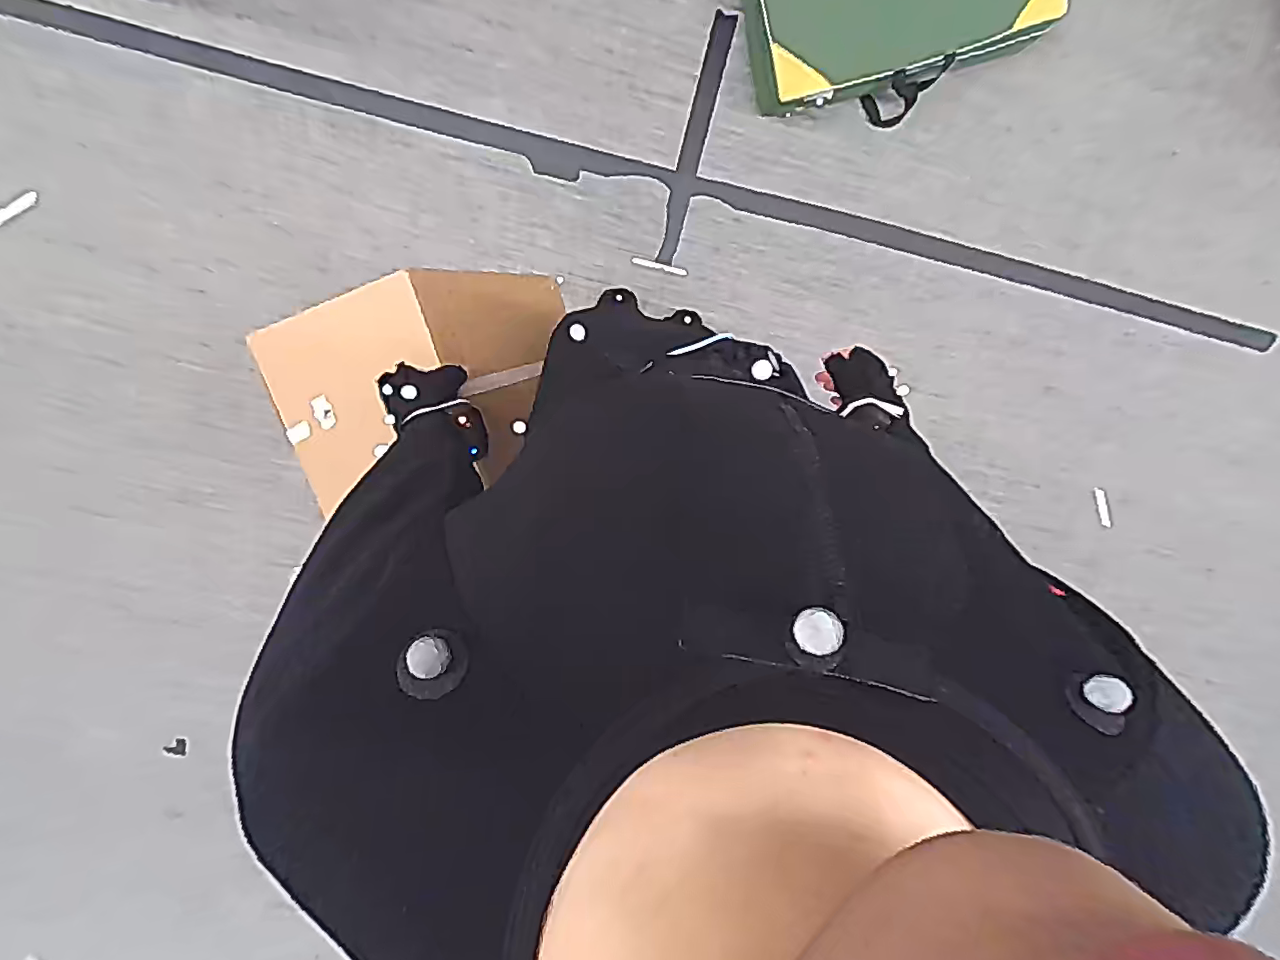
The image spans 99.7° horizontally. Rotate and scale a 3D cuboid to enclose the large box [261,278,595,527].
[{"bbox_3d":[-0.324,-0.150,0.944,0.320,0.408,0.320,-9,106,20],"label":"large box"}]
